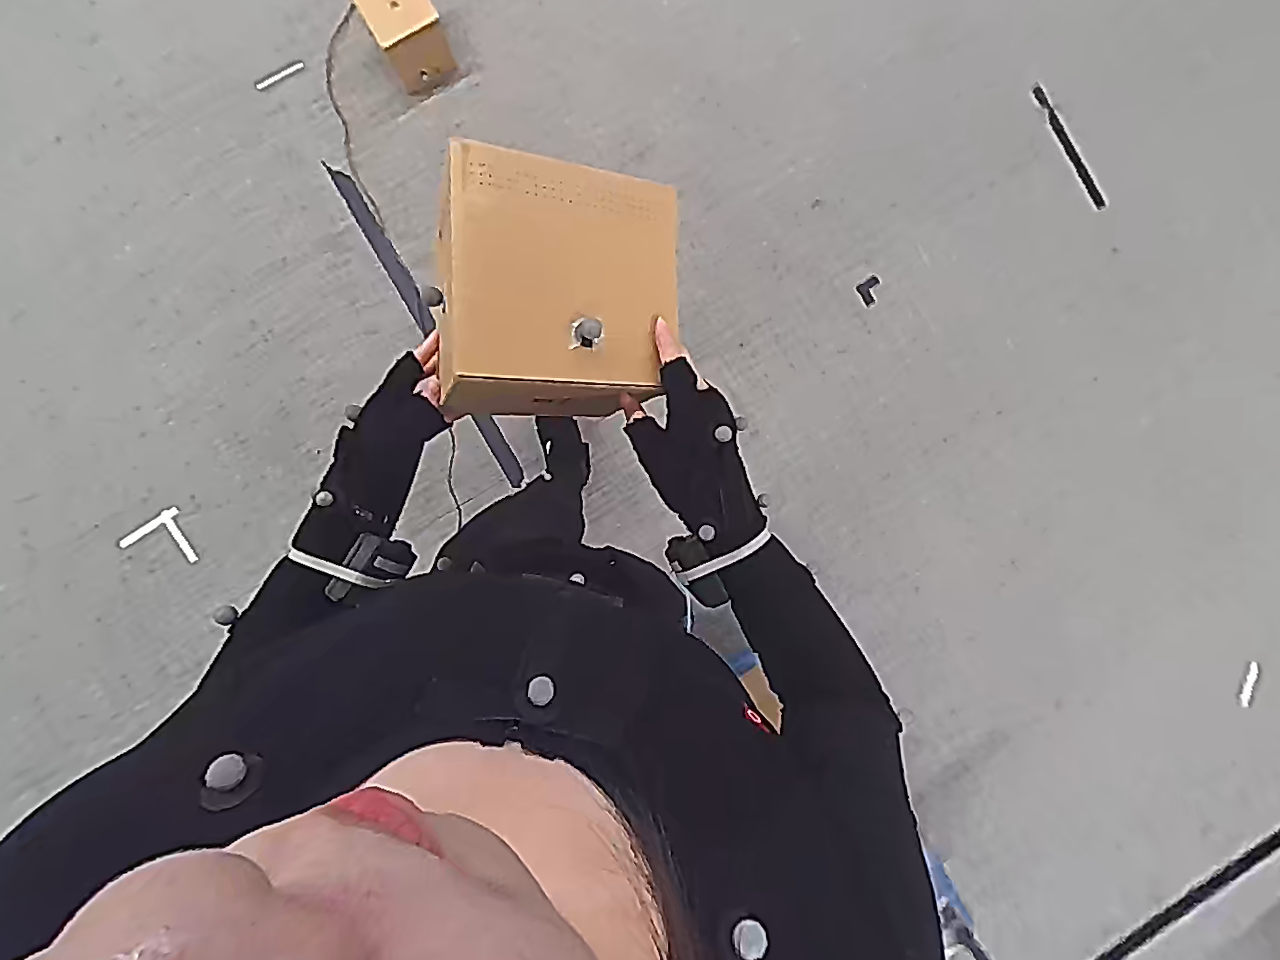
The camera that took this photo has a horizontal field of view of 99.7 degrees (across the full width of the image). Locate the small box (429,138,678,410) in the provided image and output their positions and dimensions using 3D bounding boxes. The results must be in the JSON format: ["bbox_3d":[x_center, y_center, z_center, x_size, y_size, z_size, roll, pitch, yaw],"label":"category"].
[{"bbox_3d":[-0.085,-0.159,0.471,0.179,0.168,0.176,-3,90,-24],"label":"small box"}]

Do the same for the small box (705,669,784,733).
[{"bbox_3d":[0.266,0.556,1.233,0.168,0.176,0.179,-32,91,-1],"label":"small box"}]

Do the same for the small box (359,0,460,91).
[{"bbox_3d":[-0.603,-1.181,1.414,0.168,0.176,0.179,-30,91,-1],"label":"small box"}]
